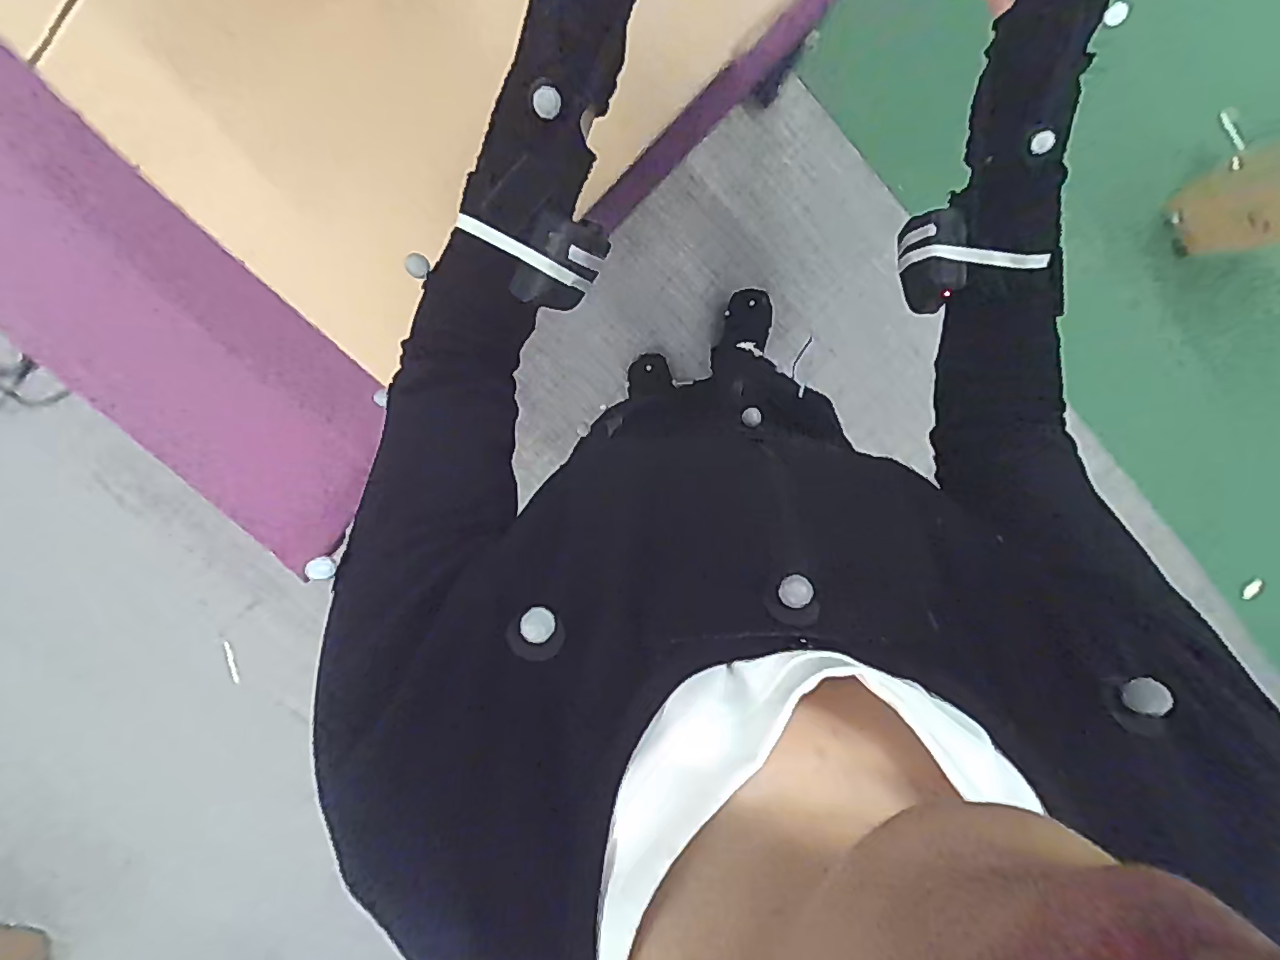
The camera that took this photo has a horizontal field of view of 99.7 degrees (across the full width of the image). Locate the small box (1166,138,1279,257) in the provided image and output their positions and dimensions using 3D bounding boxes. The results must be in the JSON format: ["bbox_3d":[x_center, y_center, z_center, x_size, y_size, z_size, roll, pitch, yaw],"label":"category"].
[{"bbox_3d":[1.391,-0.646,1.255,0.179,0.176,0.168,-42,101,9],"label":"small box"}]
